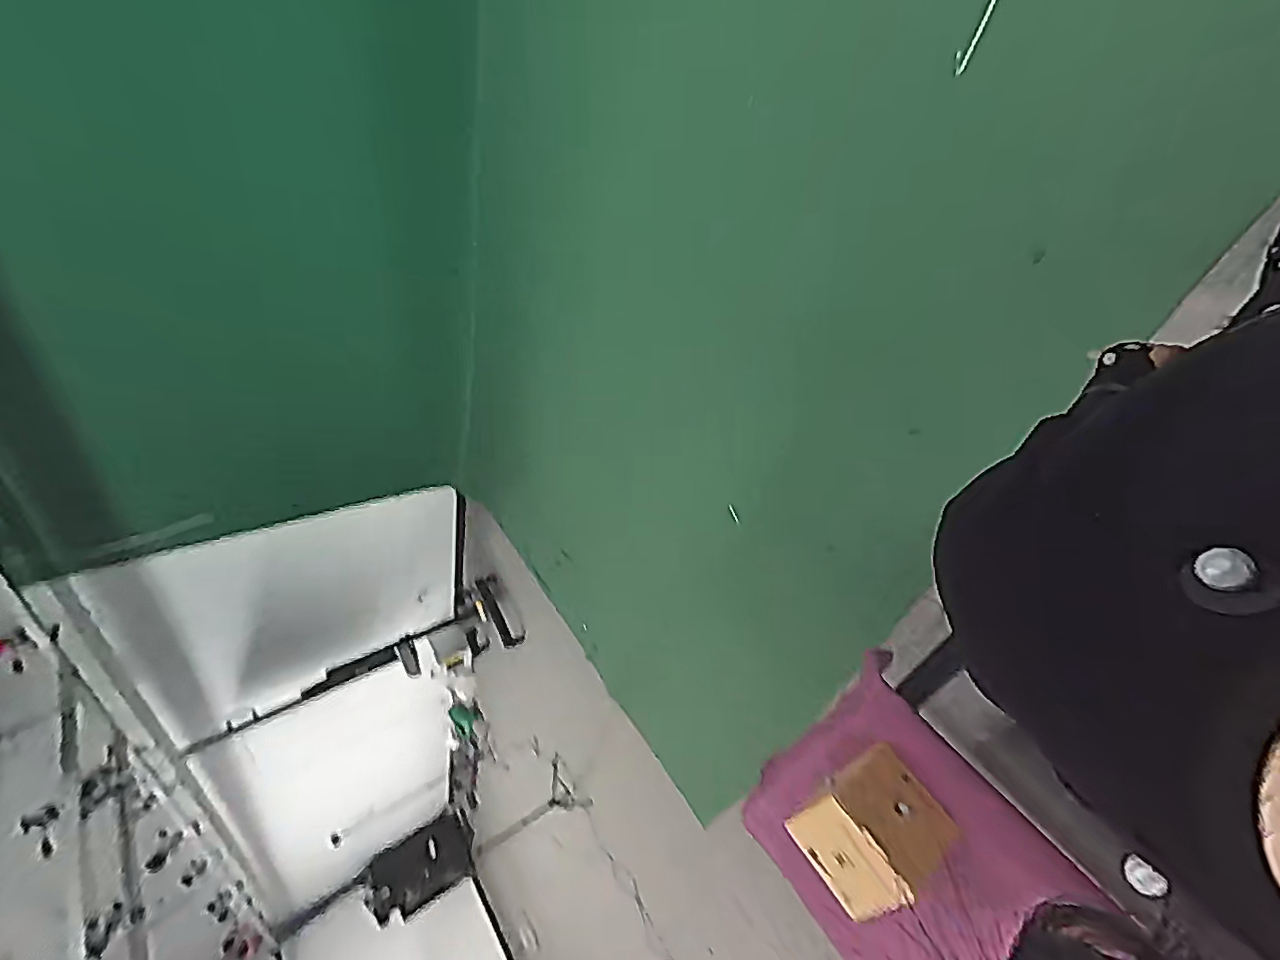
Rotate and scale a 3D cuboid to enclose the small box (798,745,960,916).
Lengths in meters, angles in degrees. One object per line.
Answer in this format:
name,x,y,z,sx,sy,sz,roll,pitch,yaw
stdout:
small box,0.419,0.602,0.943,0.168,0.176,0.179,49,137,29
